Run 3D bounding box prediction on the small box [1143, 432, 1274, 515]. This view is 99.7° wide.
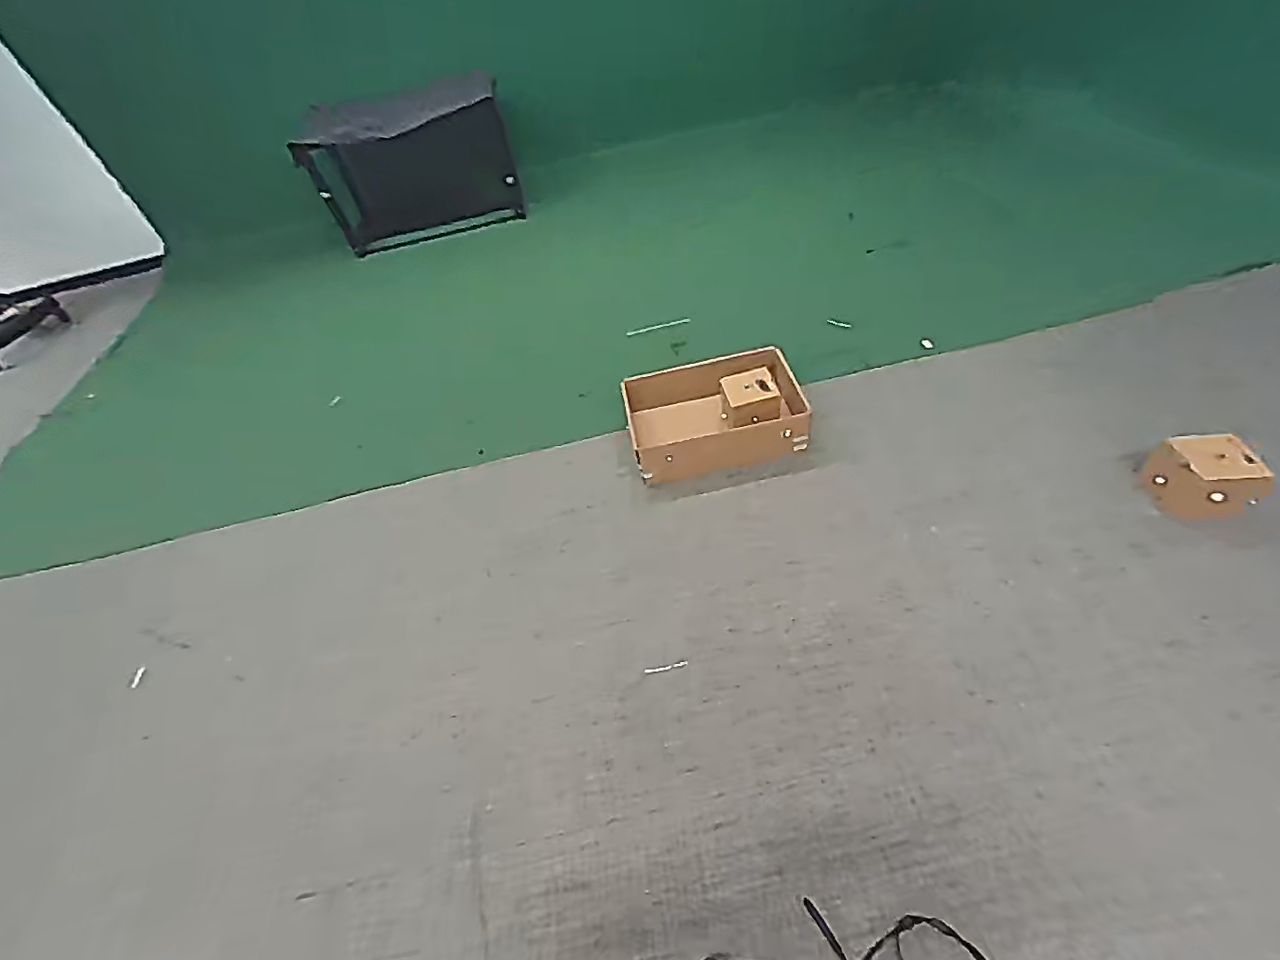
[{"bbox_3d":[1.596,-0.013,1.539,0.179,0.176,0.168,-5,49,9],"label":"small box"}]
